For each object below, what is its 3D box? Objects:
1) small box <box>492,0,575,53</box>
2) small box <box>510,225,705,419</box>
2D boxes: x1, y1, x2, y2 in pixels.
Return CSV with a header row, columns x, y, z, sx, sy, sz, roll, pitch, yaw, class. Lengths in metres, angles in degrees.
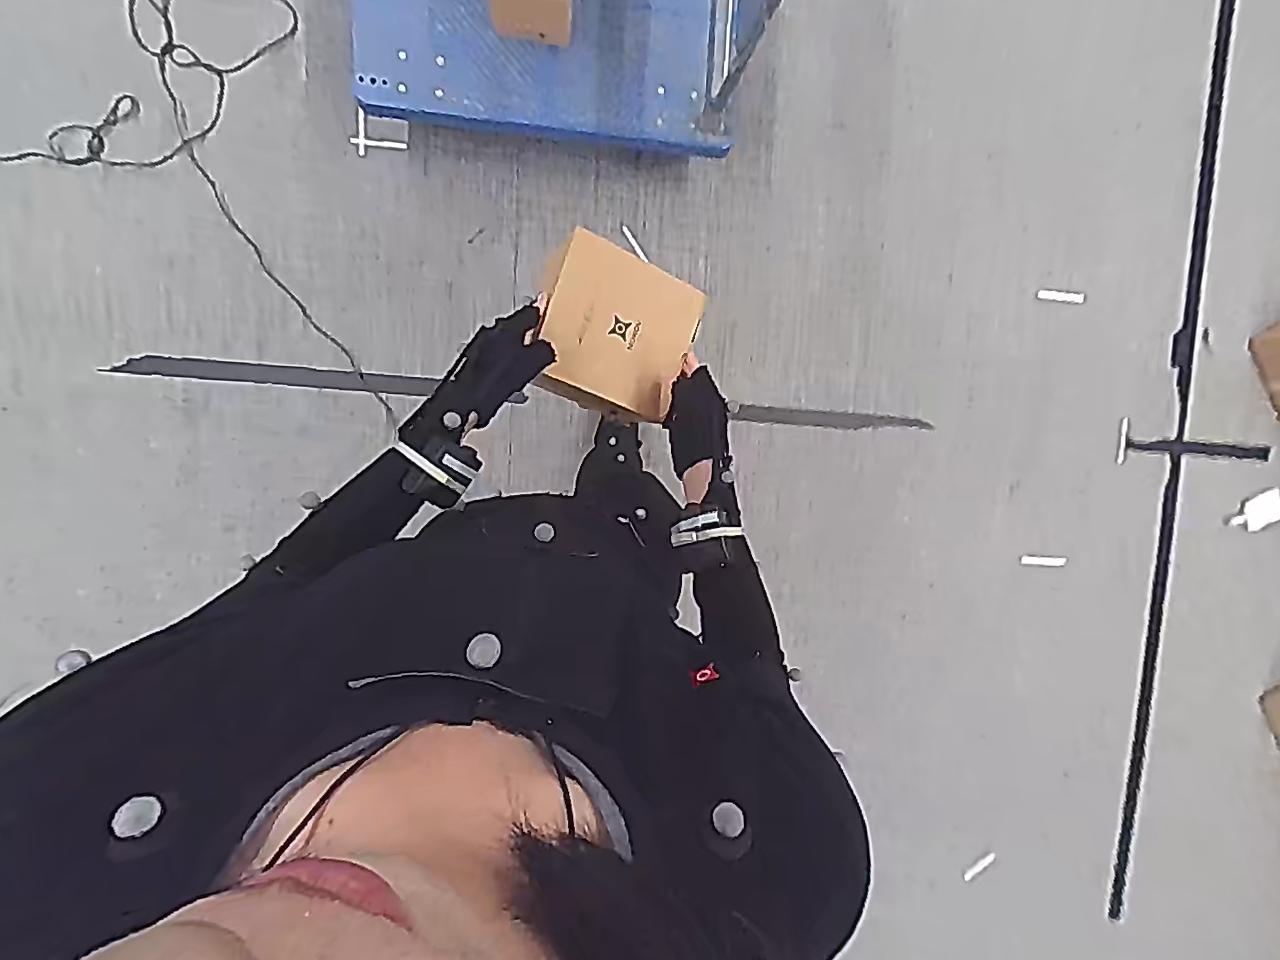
x,y,z,sx,sy,sz,roll,pitch,yaw,class
-0.224,-1.063,1.141,0.168,0.176,0.179,5,93,-7,small box
-0.051,-0.185,0.691,0.179,0.176,0.168,20,88,-21,small box
